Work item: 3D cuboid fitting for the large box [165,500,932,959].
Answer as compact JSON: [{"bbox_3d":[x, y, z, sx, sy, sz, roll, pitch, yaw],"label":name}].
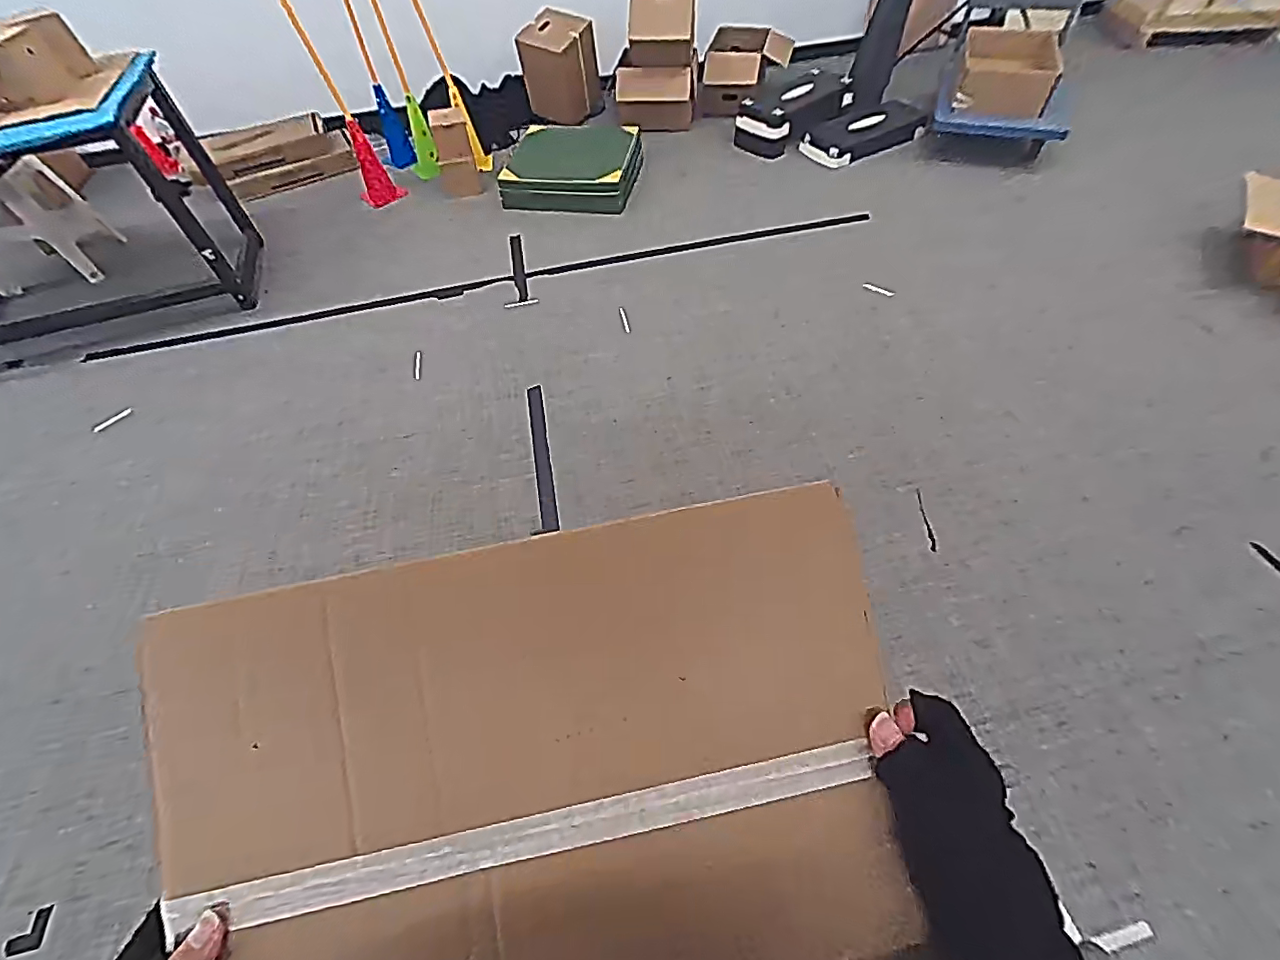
[{"bbox_3d":[-0.055,0.216,0.457,0.408,0.320,0.320,-11,83,-4],"label":"large box"}]
